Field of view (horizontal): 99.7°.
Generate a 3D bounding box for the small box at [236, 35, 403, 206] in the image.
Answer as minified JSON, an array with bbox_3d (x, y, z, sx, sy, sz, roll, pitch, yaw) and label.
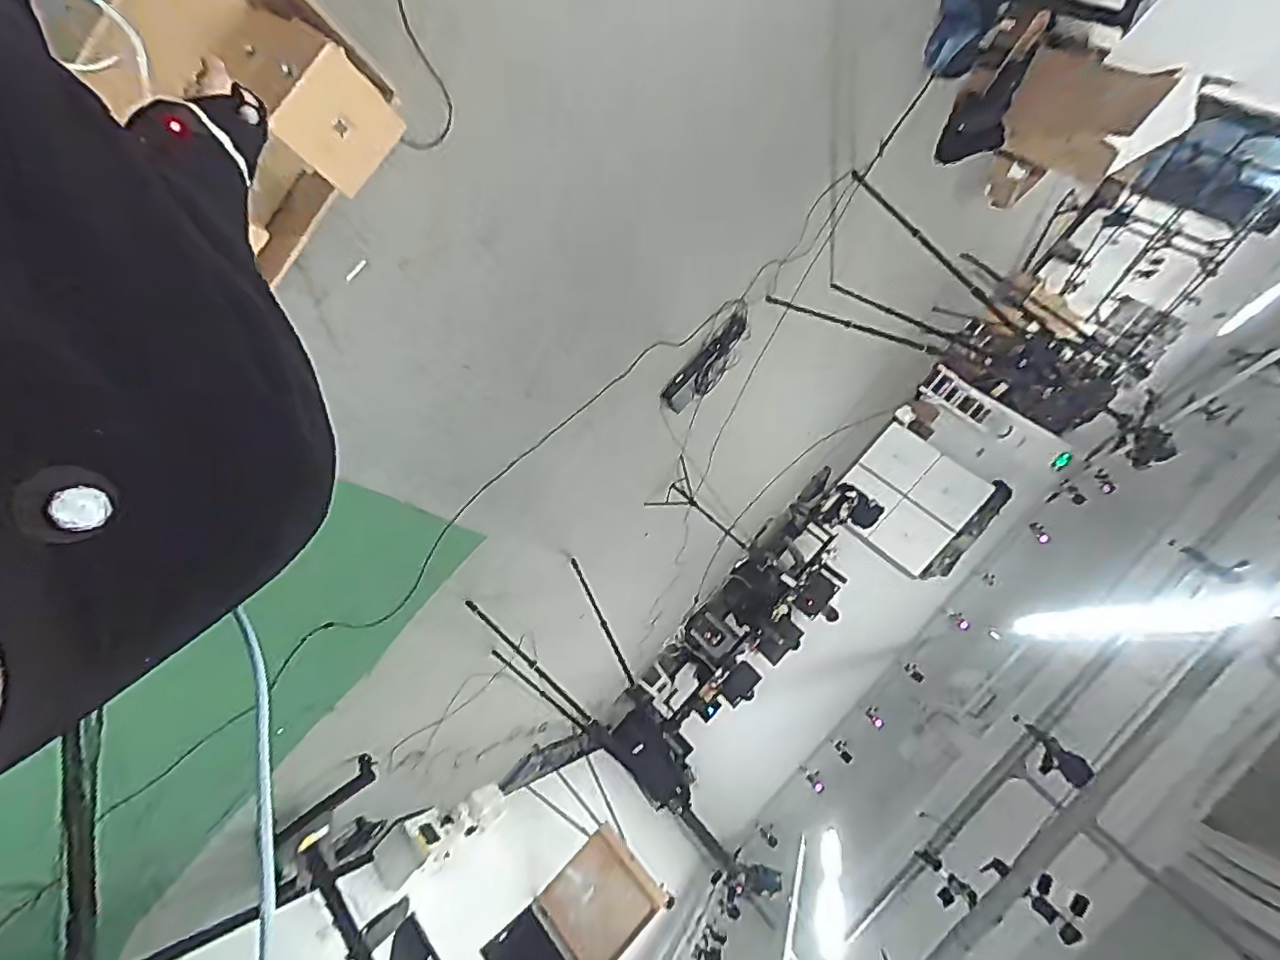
[{"bbox_3d":[-0.577,-0.645,0.970,0.179,0.176,0.168,-50,153,3],"label":"small box"}]
